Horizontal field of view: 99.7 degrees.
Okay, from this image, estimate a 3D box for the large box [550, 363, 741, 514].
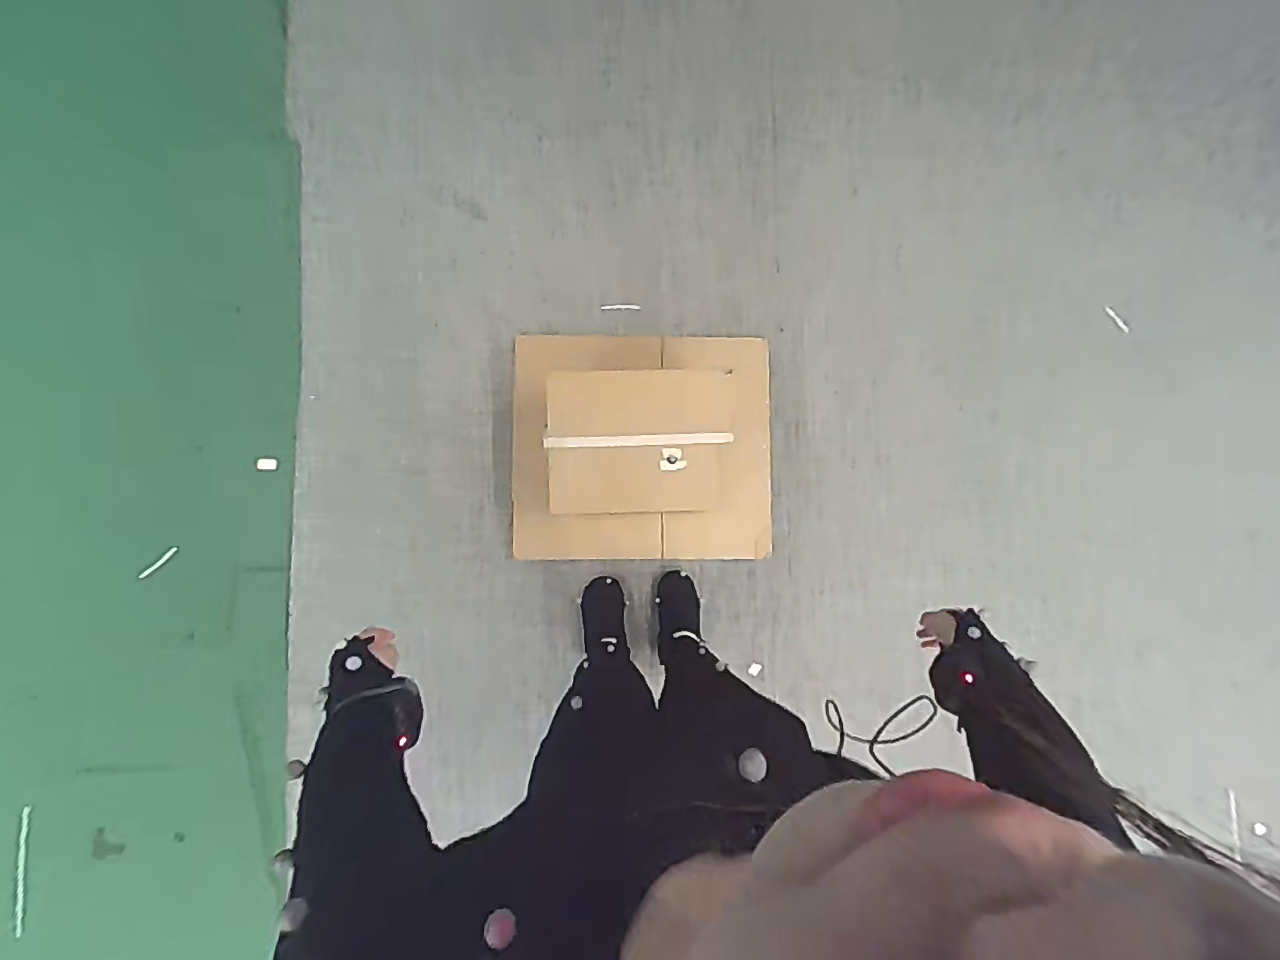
[{"bbox_3d":[0.003,-0.083,1.306,0.408,0.320,0.320,-2,87,-3],"label":"large box"}]
